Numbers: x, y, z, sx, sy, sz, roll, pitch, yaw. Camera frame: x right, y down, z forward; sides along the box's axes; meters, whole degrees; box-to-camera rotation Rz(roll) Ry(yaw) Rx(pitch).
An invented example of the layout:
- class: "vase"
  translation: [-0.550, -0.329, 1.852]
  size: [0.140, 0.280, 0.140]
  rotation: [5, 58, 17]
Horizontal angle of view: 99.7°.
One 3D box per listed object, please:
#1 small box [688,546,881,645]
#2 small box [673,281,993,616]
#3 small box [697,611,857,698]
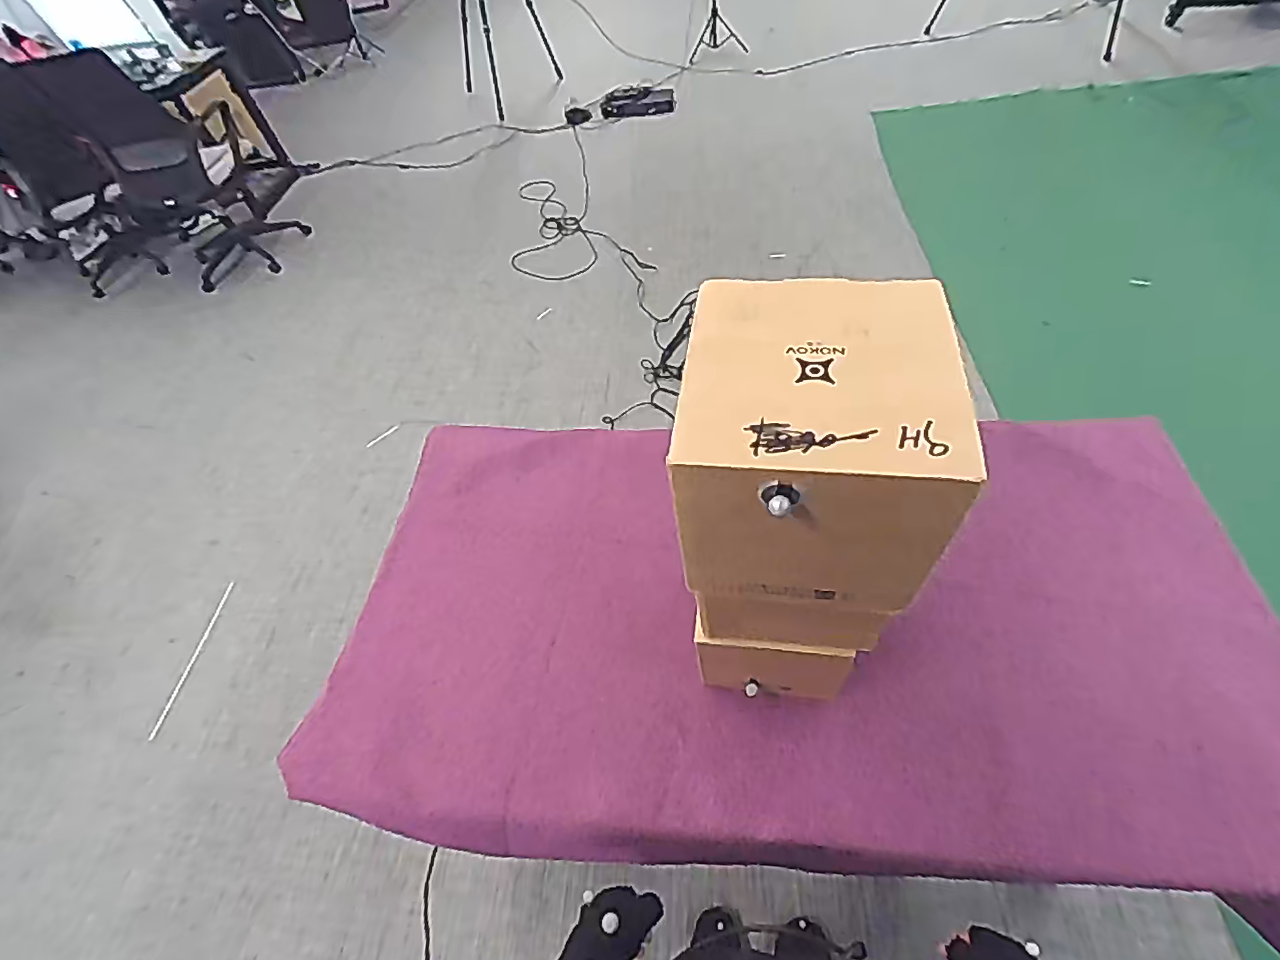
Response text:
- class: "small box"
  translation: [0.148, 0.054, 0.540]
  size: [0.179, 0.176, 0.168]
  rotation: [2, 54, 11]
- class: "small box"
  translation: [0.123, -0.023, 0.396]
  size: [0.168, 0.176, 0.179]
  rotation: [3, 54, 13]
- class: "small box"
  translation: [0.164, 0.150, 0.670]
  size: [0.168, 0.176, 0.179]
  rotation: [2, 55, 12]
